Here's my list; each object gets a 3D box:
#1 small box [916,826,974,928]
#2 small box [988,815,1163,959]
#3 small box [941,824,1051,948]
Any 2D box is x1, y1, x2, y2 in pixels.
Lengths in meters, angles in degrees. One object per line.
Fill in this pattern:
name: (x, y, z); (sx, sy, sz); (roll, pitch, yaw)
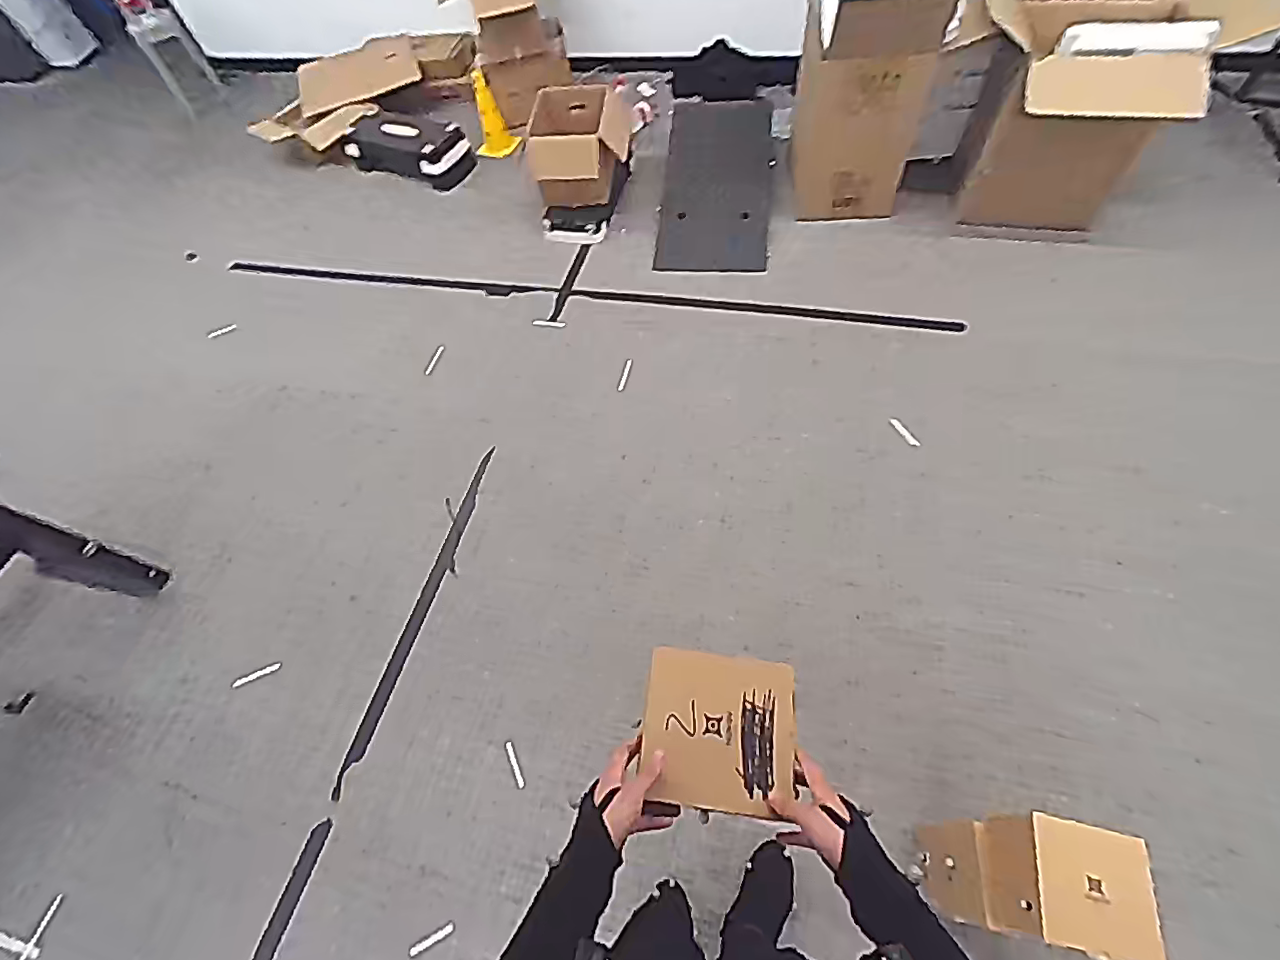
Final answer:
small box: (0.727, 0.861, 1.173); (0.179, 0.176, 0.168); (4, 60, 9)
small box: (0.707, 0.680, 0.902); (0.168, 0.176, 0.179); (10, 61, 12)
small box: (0.709, 0.771, 1.038); (0.179, 0.176, 0.168); (5, 59, 10)
